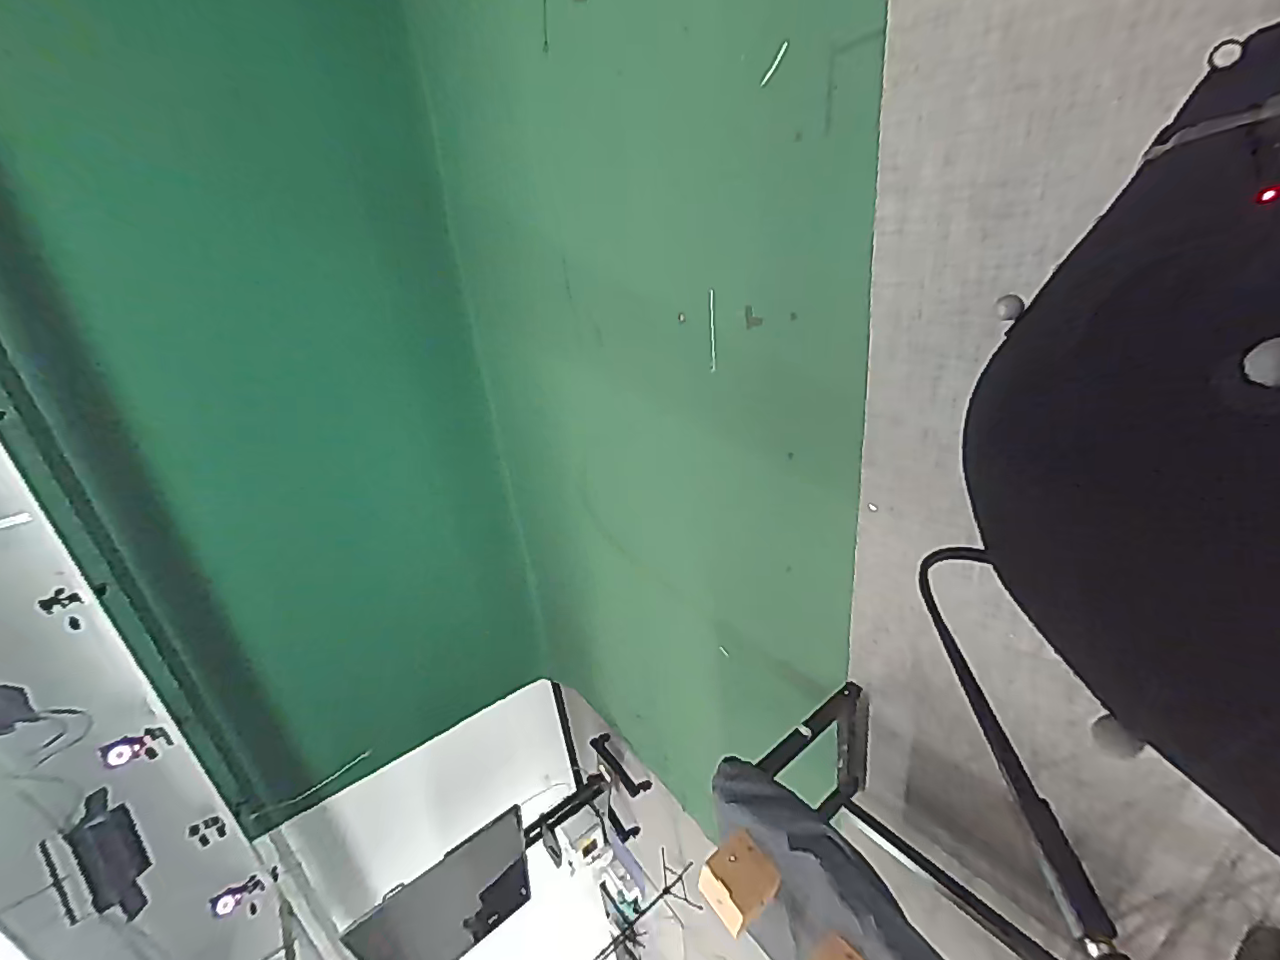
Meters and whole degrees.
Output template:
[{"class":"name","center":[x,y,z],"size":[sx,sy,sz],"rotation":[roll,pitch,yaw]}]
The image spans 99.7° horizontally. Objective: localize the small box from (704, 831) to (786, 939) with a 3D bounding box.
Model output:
[{"class":"small box","center":[0.314,1.198,1.610],"size":[0.168,0.176,0.179],"rotation":[37,139,41]}]

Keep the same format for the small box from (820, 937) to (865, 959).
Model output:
[{"class":"small box","center":[0.523,1.318,1.360],"size":[0.168,0.176,0.179],"rotation":[25,130,49]}]
